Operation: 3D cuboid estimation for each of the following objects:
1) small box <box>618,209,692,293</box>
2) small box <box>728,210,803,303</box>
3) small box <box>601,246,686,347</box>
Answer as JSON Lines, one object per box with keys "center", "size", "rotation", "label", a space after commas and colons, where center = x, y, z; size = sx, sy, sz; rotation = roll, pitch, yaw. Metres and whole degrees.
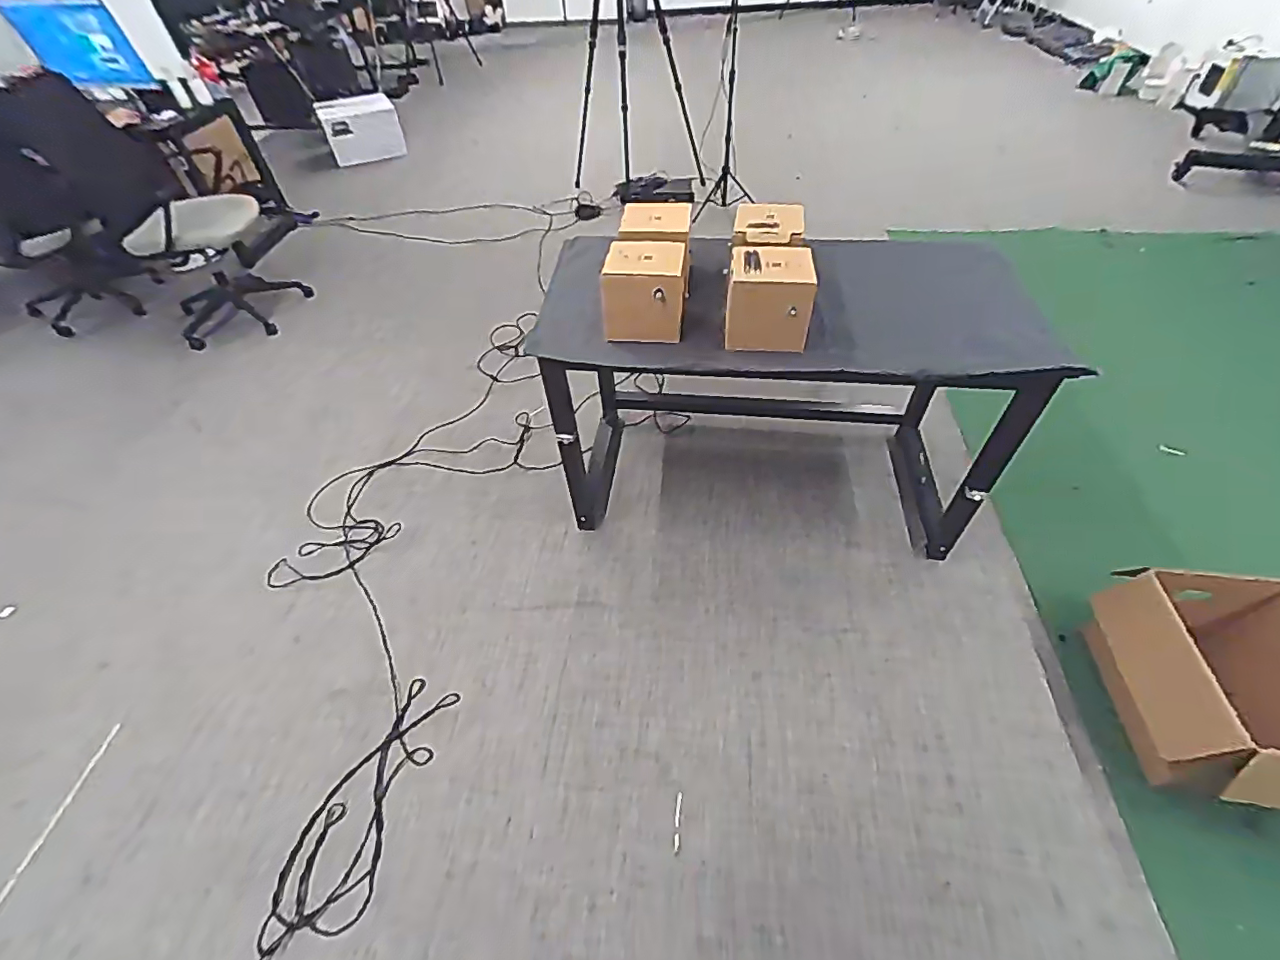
{"center": [0.045, -0.591, 1.421], "size": [0.179, 0.176, 0.168], "rotation": [2, 48, 7], "label": "small box"}
{"center": [0.319, -0.569, 1.380], "size": [0.168, 0.176, 0.179], "rotation": [7, 48, 9], "label": "small box"}
{"center": [0.014, -0.428, 1.270], "size": [0.179, 0.176, 0.168], "rotation": [3, 47, 6], "label": "small box"}
